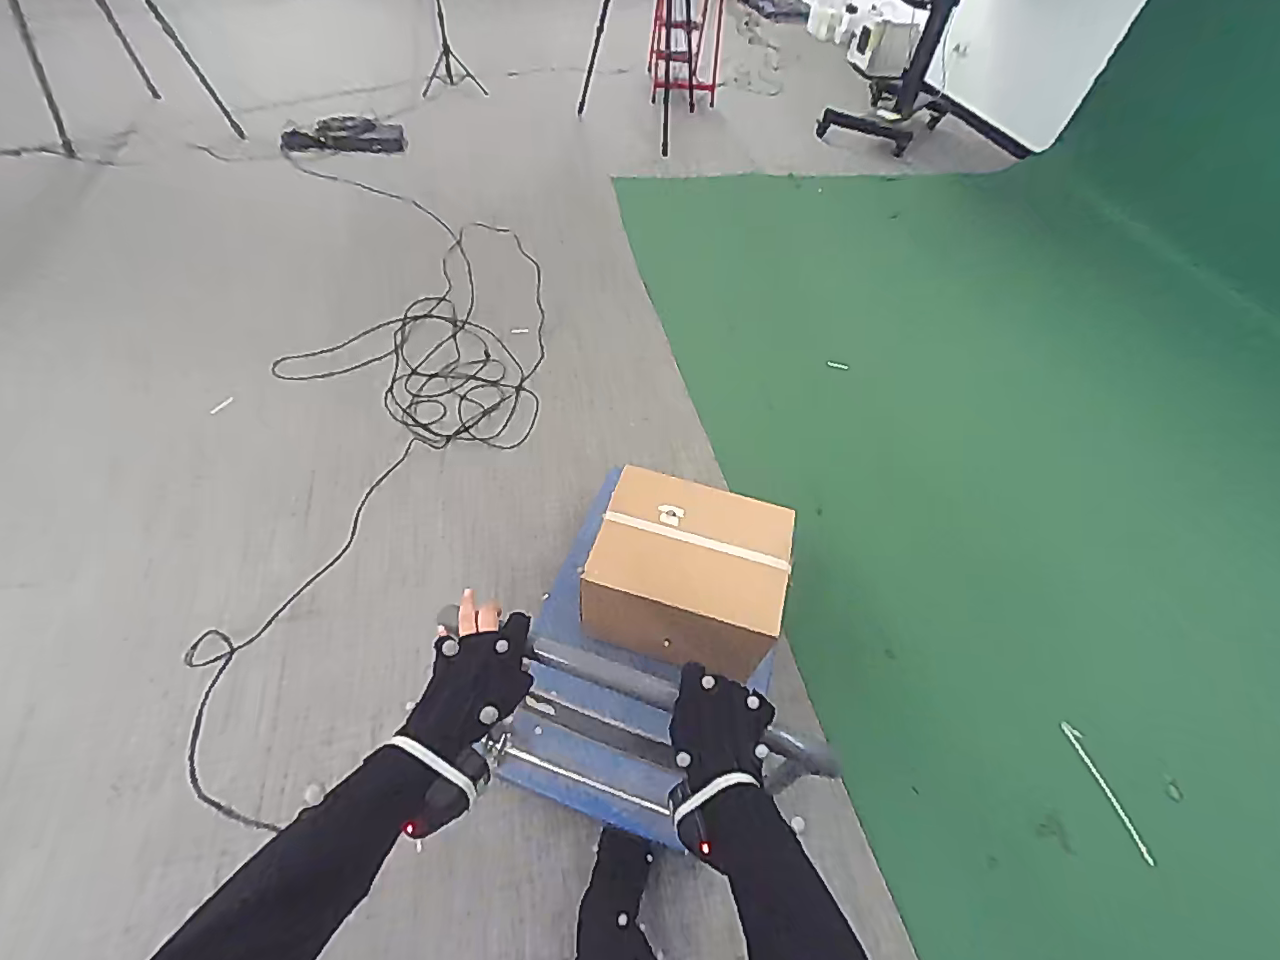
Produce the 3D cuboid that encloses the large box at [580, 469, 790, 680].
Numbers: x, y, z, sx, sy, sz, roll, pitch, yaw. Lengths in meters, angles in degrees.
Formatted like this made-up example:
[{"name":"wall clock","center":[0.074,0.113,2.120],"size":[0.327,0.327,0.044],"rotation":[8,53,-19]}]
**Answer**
[{"name":"large box","center":[0.101,0.226,1.270],"size":[0.408,0.320,0.320],"rotation":[16,52,7]}]
